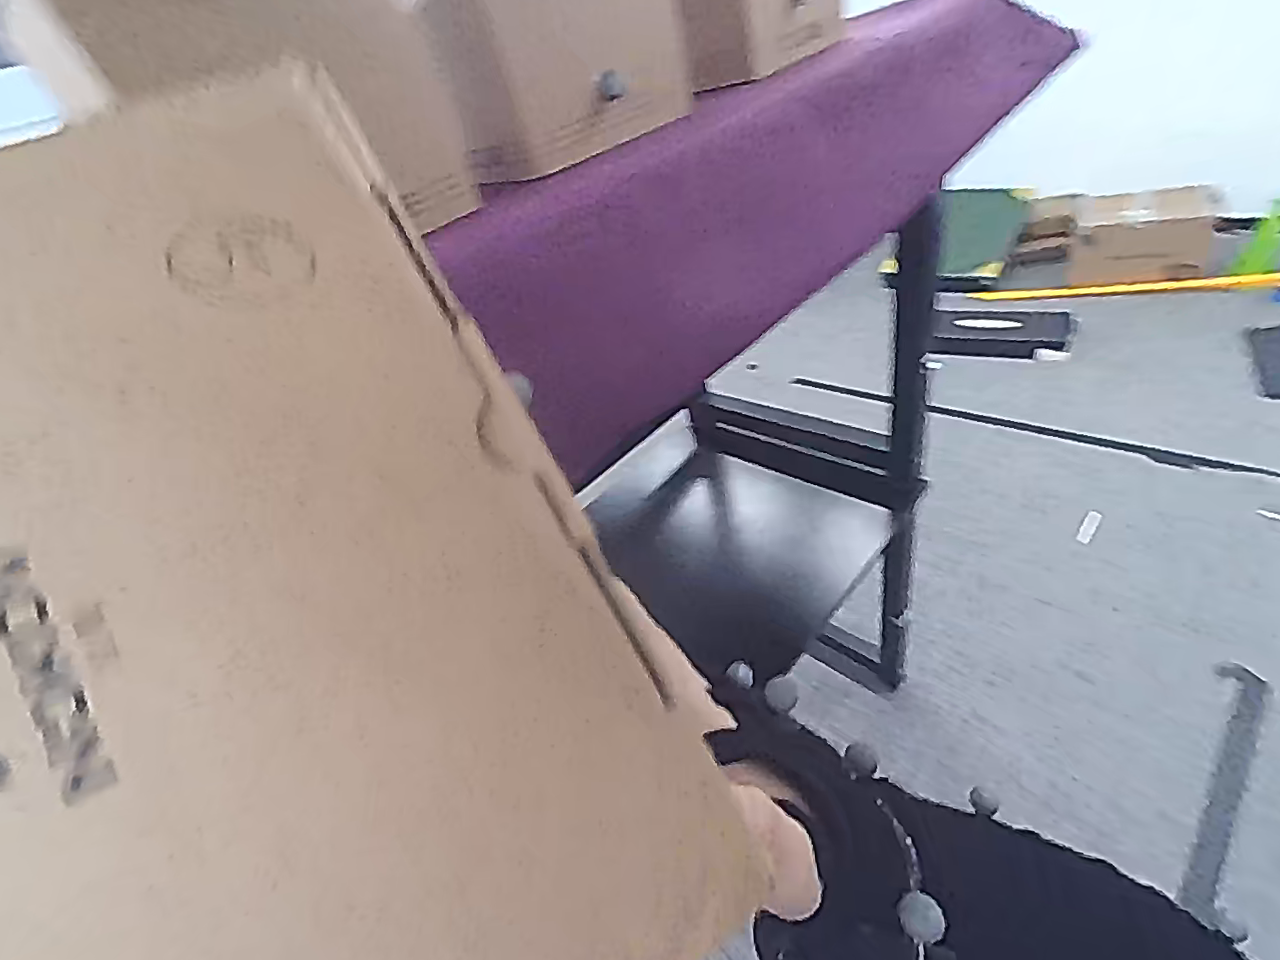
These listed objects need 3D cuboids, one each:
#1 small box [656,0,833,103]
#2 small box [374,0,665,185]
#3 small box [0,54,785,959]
[{"bbox_3d":[0.083,-0.527,0.576,0.168,0.176,0.179,-40,42,-23],"label":"small box"},{"bbox_3d":[-0.096,-0.366,0.456,0.179,0.176,0.168,-38,41,-24],"label":"small box"},{"bbox_3d":[-0.102,0.050,0.144,0.179,0.176,0.168,-28,82,-14],"label":"small box"}]
